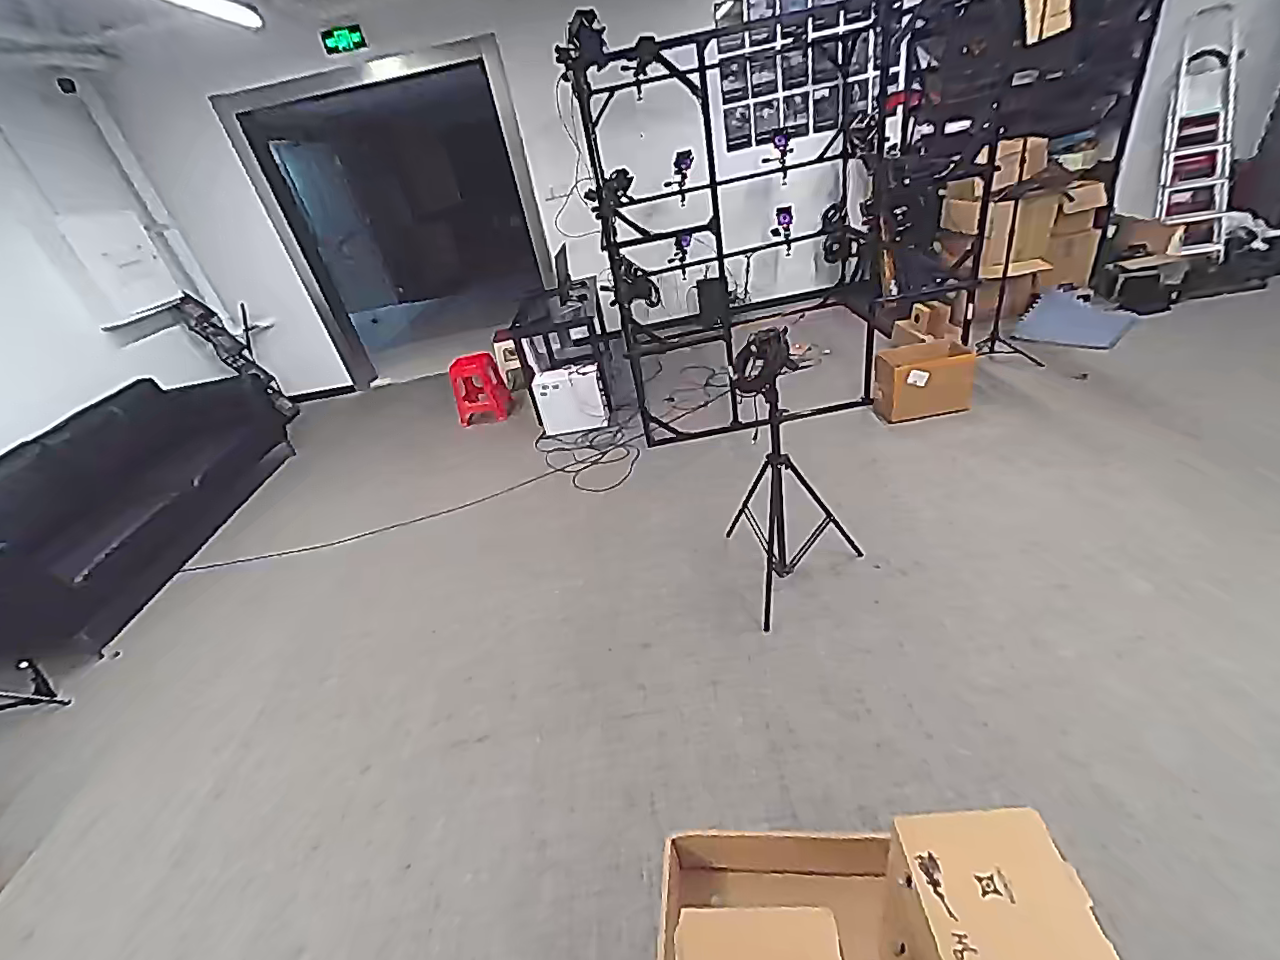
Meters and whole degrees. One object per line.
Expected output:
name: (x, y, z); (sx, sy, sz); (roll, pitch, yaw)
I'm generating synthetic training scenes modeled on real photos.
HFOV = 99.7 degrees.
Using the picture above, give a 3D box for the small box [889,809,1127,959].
small box: (0.418, 0.524, 0.646); (0.179, 0.176, 0.168); (-7, 31, 7)

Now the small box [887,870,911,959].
small box: (0.445, 0.663, 0.729); (0.168, 0.176, 0.179); (-7, 31, 9)

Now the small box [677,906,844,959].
small box: (0.131, 0.593, 0.600); (0.179, 0.176, 0.168); (0, 42, 0)
